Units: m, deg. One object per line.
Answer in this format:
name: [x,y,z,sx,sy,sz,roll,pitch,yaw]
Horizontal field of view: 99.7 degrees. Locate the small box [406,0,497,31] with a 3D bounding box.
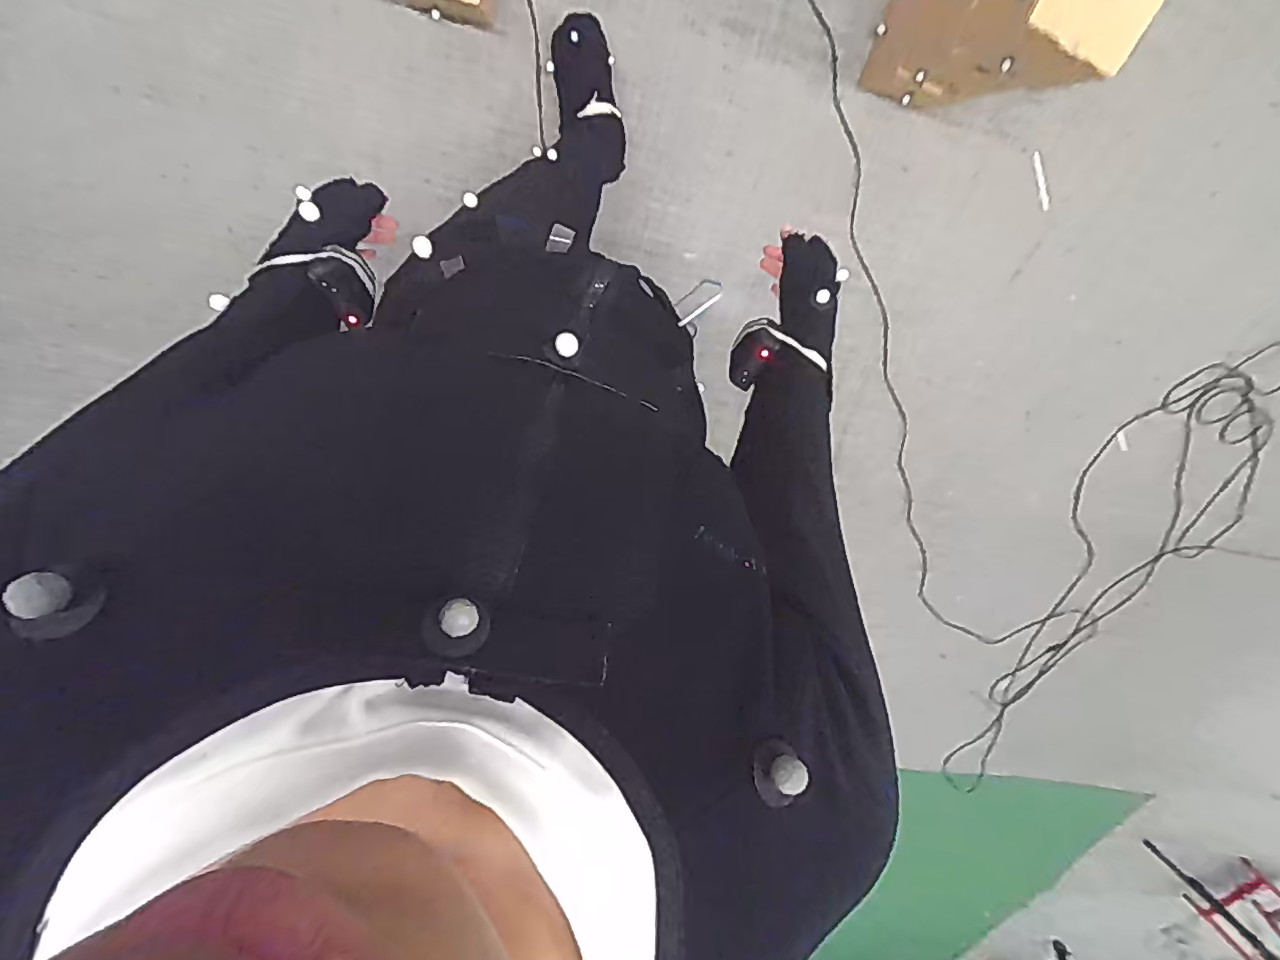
small box: [-0.336,-0.916,0.927,0.168,0.176,0.179,9,119,-10]

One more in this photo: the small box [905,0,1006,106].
small box: [0.588,-0.767,0.919,0.168,0.176,0.179,13,117,-13]

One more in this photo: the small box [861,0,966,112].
small box: [0.566,-0.847,1.064,0.168,0.176,0.179,8,120,-14]
